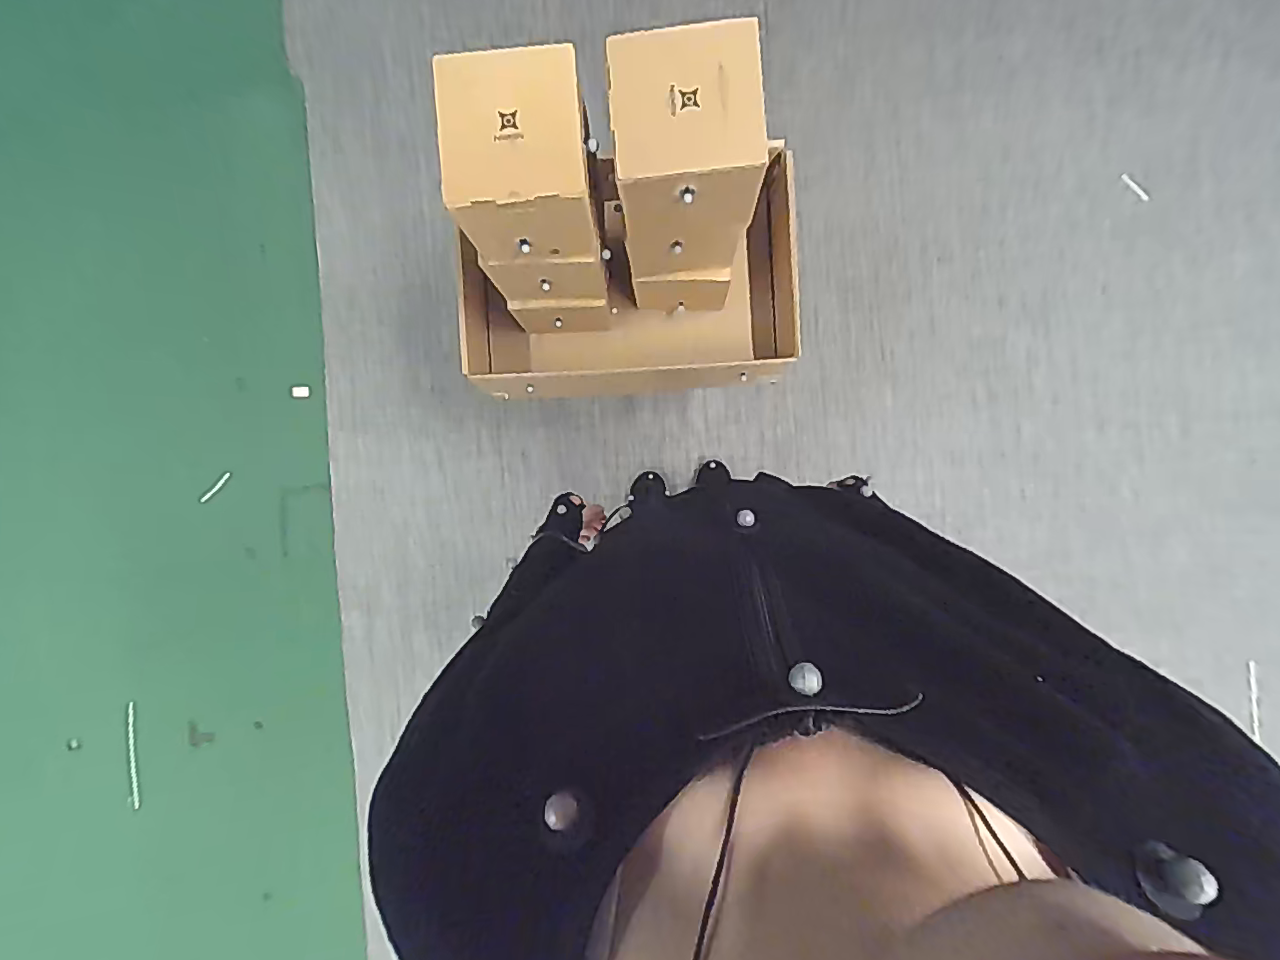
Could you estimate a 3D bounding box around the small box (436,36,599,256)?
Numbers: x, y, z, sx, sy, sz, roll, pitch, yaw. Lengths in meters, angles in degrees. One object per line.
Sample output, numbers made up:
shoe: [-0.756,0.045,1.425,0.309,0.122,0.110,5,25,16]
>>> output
small box: [-0.146,-0.413,0.694,0.168,0.176,0.179,-4,90,1]
